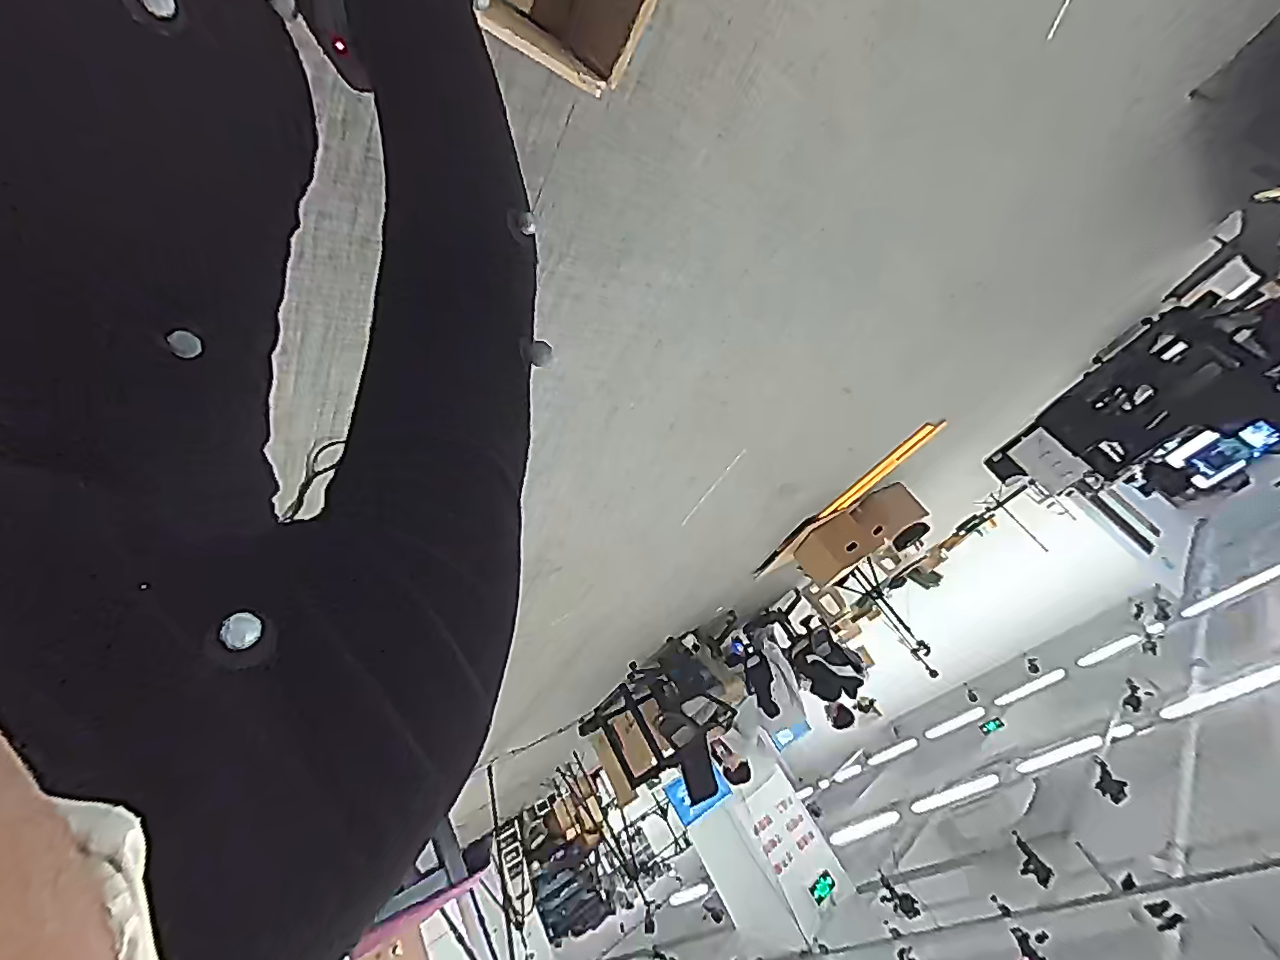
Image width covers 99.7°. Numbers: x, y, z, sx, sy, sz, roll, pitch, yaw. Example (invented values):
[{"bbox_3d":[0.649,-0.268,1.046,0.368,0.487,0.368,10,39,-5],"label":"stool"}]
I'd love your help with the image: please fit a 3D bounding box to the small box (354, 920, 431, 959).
[{"bbox_3d":[-0.631,1.263,1.371,0.168,0.176,0.179,-9,145,-41],"label":"small box"}]
